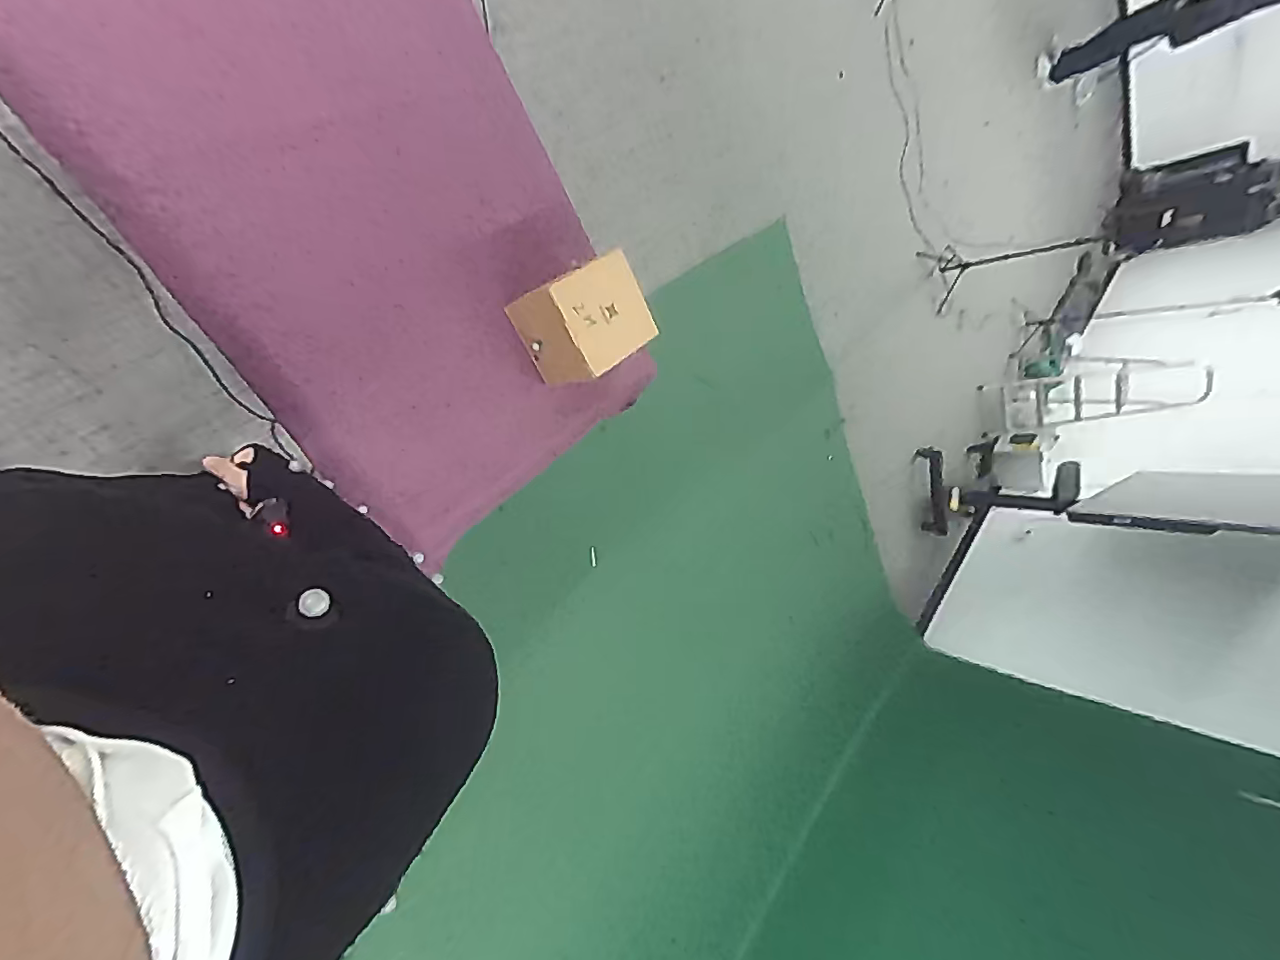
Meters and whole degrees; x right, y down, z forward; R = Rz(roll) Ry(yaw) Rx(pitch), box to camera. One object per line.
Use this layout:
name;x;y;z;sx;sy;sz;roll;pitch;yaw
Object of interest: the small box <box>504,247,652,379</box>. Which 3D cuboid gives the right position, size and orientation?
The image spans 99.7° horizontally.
small box;-0.115;-0.301;0.998;0.179;0.176;0.168;-41;117;-29
